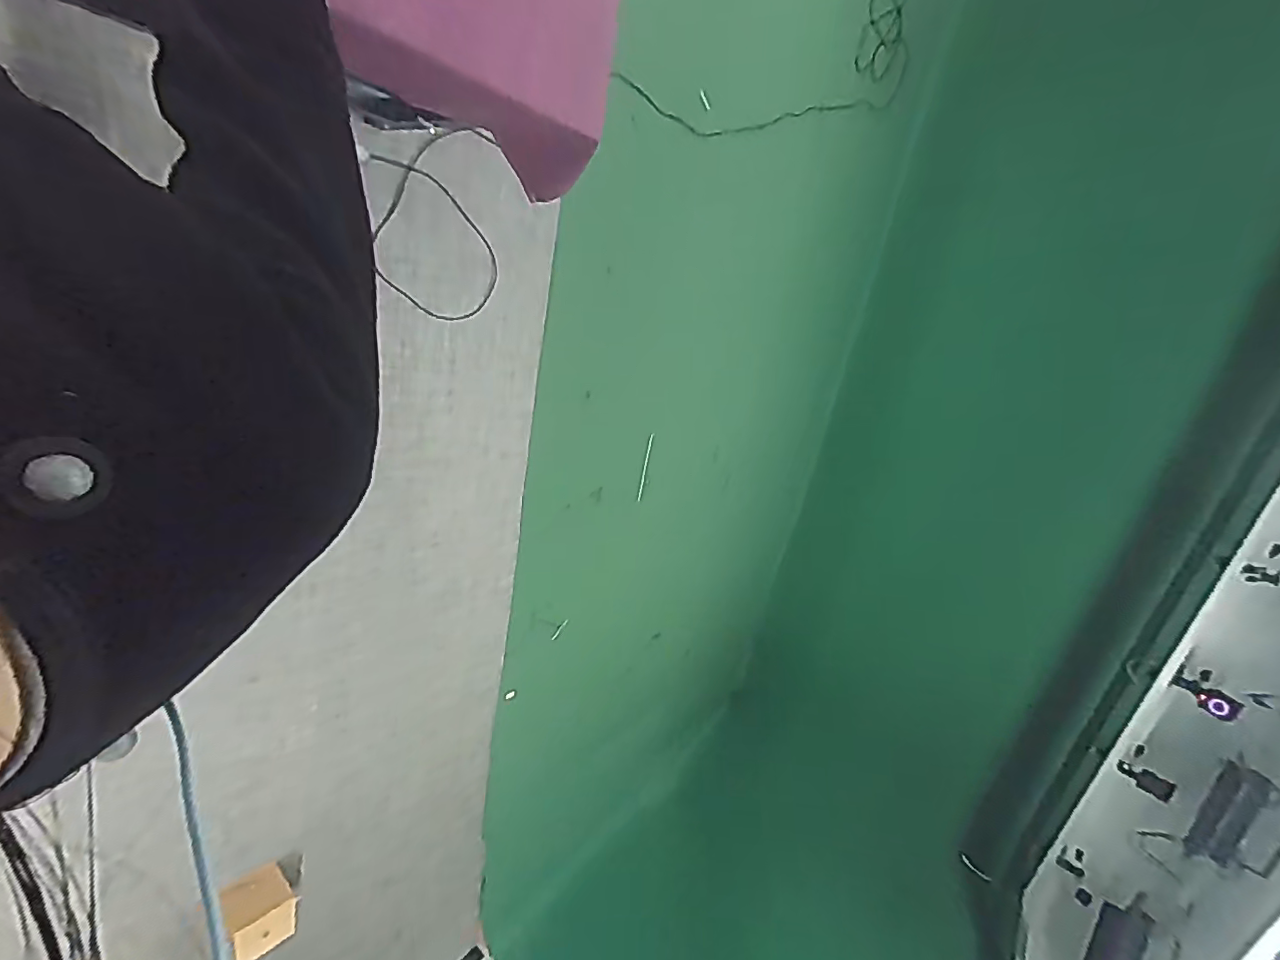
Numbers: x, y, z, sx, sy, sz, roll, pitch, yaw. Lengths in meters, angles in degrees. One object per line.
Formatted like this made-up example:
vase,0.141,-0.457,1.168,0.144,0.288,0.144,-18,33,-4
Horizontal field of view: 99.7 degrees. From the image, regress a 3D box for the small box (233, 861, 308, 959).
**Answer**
small box,-1.229,1.429,1.798,0.168,0.176,0.179,-12,118,-50
